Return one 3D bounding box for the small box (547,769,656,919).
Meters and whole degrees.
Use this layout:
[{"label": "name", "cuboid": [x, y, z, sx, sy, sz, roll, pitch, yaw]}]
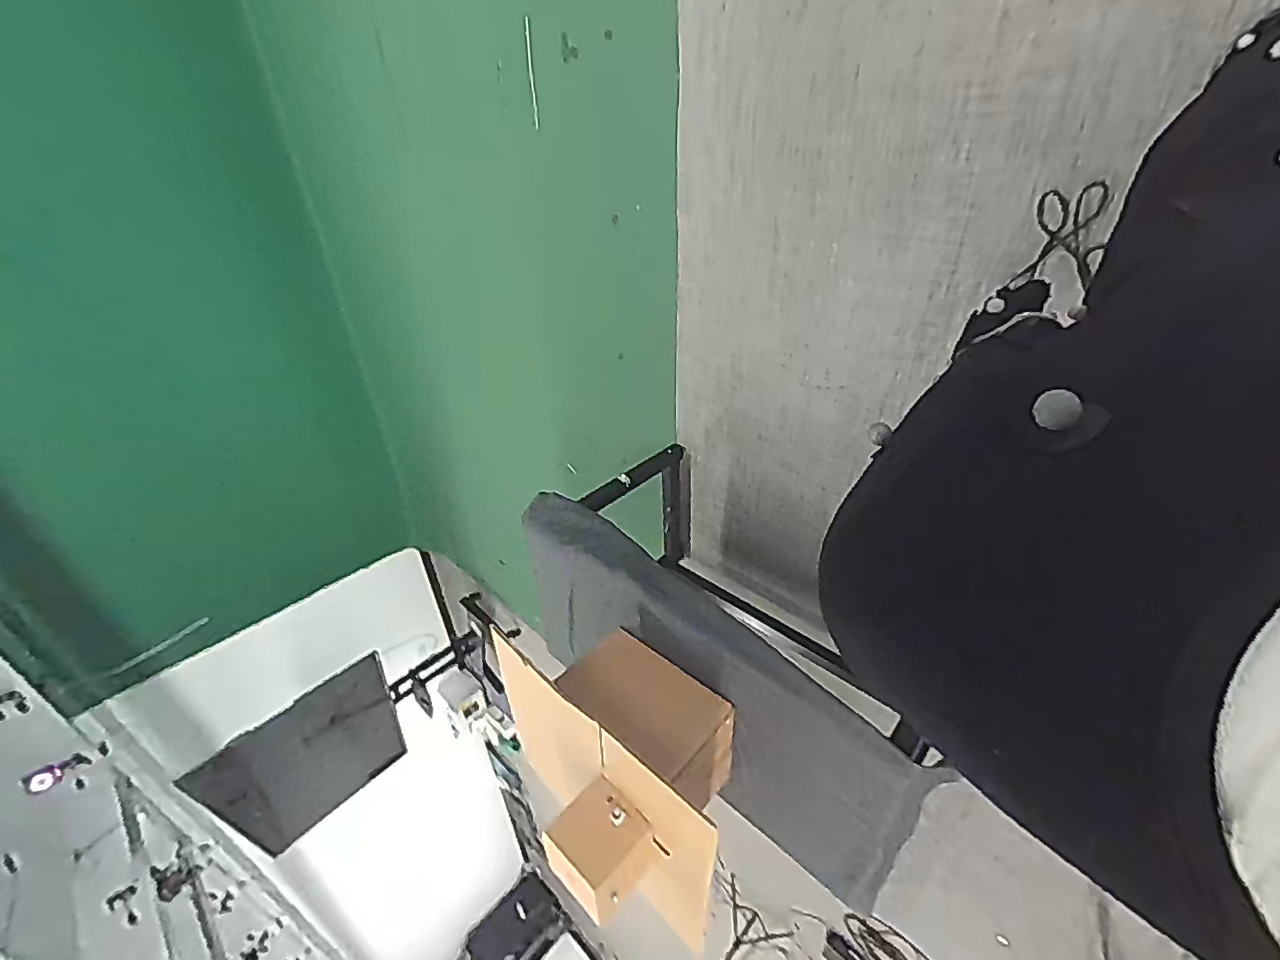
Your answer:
[{"label": "small box", "cuboid": [-0.078, 0.781, 1.173, 0.168, 0.176, 0.179, 25, 130, 36]}]
